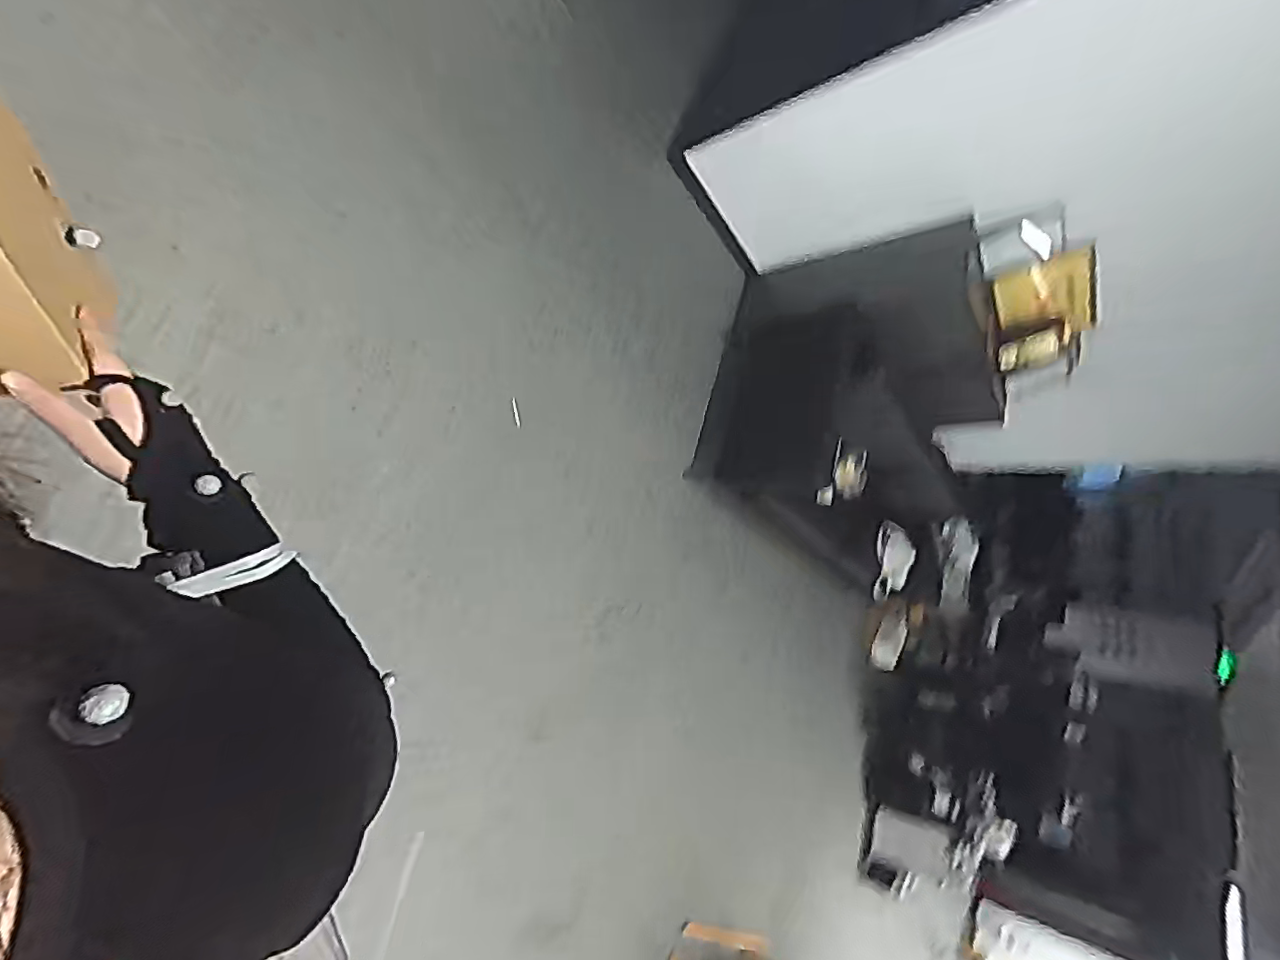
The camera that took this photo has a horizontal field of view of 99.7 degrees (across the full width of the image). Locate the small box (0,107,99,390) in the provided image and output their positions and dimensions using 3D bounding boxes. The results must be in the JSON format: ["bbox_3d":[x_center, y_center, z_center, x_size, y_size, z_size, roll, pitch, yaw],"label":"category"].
[{"bbox_3d":[-0.516,-0.160,0.351,0.179,0.176,0.168,-17,137,-23],"label":"small box"}]
